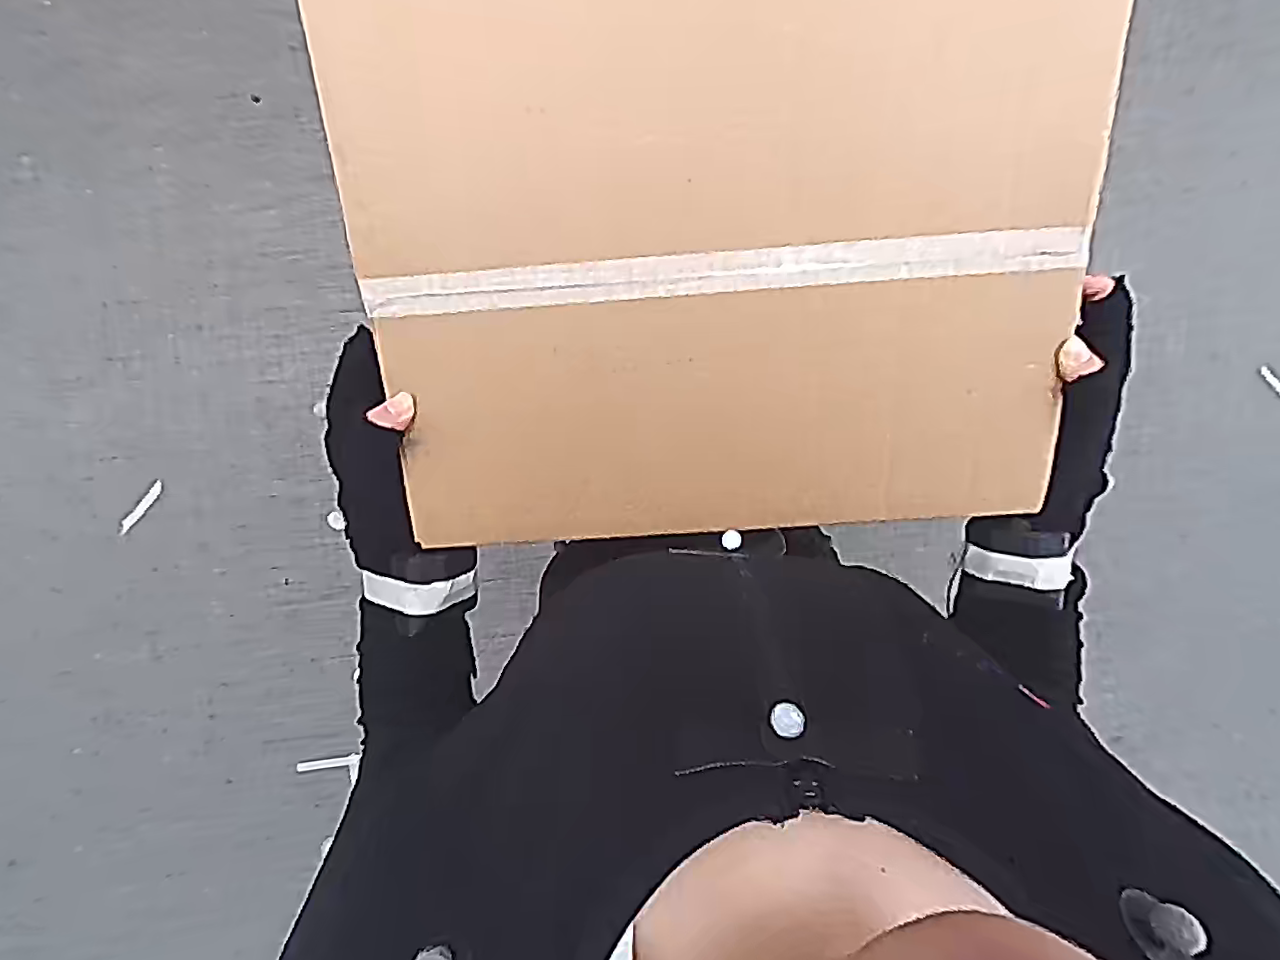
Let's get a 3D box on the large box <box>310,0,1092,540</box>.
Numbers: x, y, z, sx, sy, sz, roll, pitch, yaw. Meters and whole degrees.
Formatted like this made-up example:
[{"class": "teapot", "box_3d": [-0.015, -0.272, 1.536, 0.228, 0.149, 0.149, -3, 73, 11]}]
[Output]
[{"class": "large box", "box_3d": [0.038, -0.166, 0.455, 0.408, 0.320, 0.320, -4, 109, 1]}]
